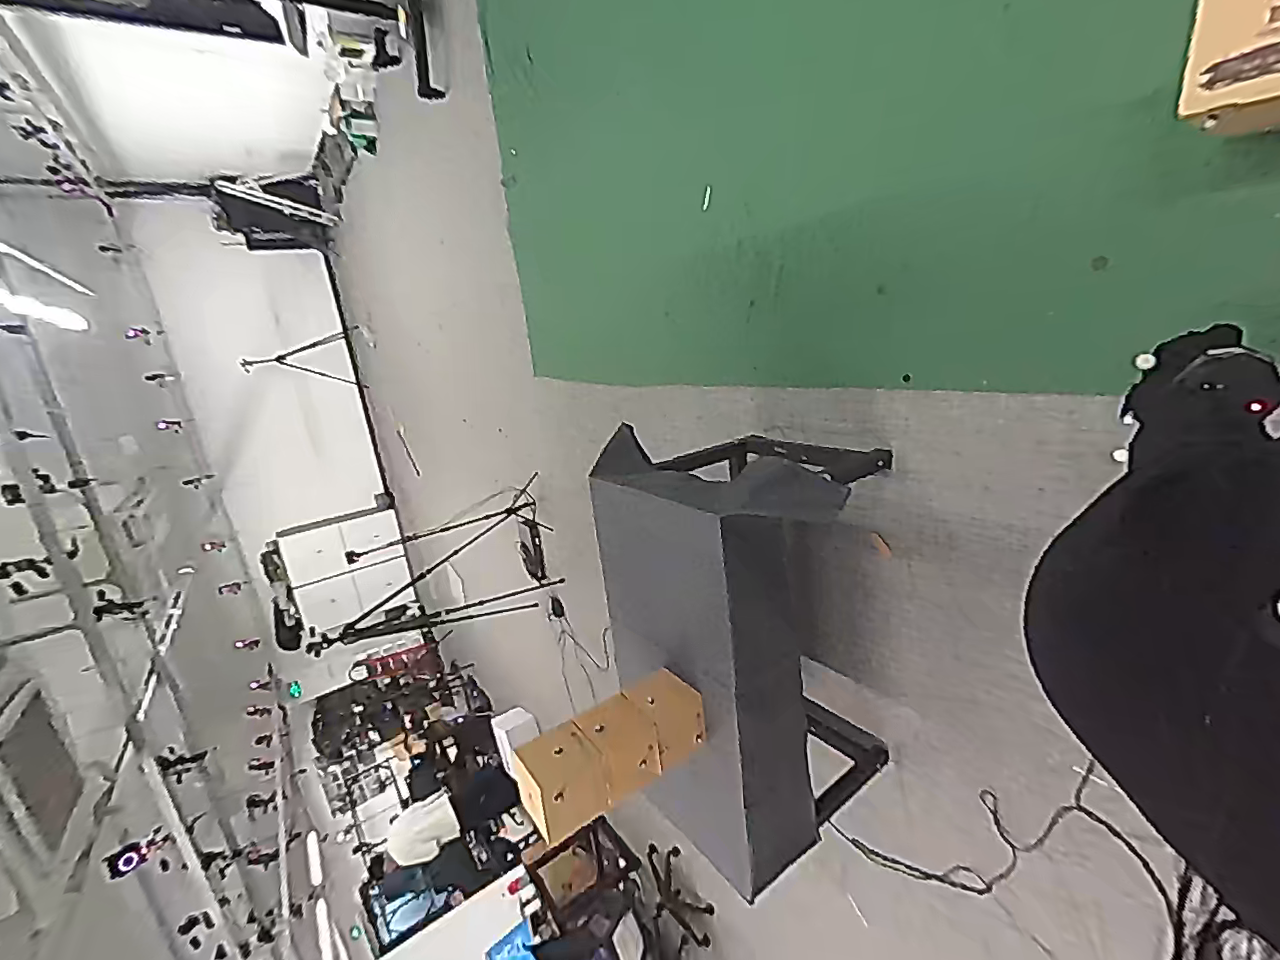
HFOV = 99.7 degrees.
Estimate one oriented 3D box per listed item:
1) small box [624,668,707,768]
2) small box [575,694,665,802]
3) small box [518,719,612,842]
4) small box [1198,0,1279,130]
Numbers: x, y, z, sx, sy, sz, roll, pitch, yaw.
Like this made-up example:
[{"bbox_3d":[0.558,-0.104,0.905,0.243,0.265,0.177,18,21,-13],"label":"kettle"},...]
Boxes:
[{"bbox_3d":[0.078,0.668,1.541,0.179,0.176,0.168,15,117,55],"label":"small box"},{"bbox_3d":[-0.054,0.707,1.455,0.179,0.176,0.168,15,116,53],"label":"small box"},{"bbox_3d":[-0.186,0.745,1.364,0.168,0.176,0.179,17,118,53],"label":"small box"},{"bbox_3d":[1.025,-0.664,0.841,0.168,0.176,0.179,22,122,51],"label":"small box"}]
